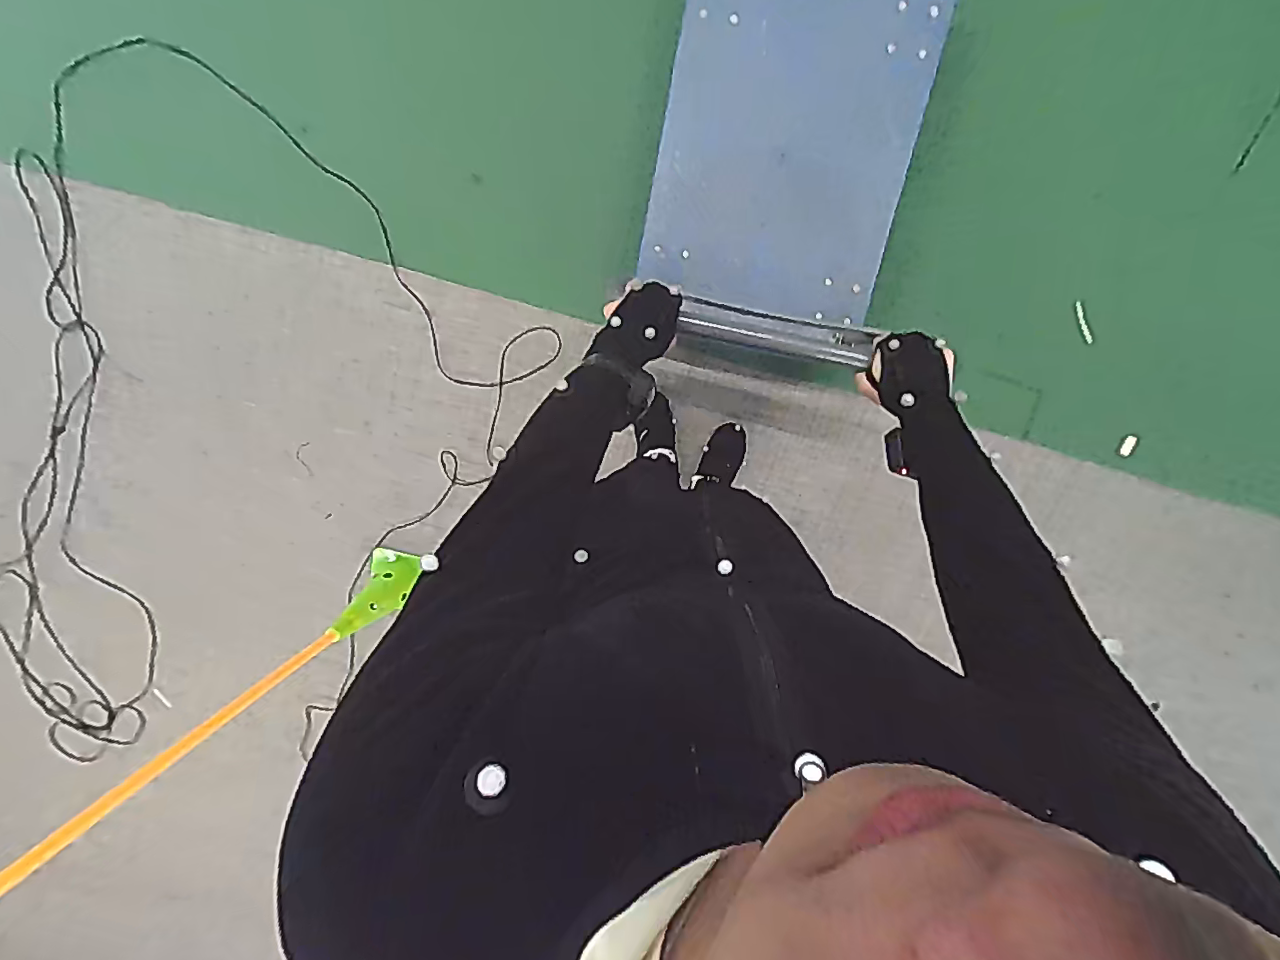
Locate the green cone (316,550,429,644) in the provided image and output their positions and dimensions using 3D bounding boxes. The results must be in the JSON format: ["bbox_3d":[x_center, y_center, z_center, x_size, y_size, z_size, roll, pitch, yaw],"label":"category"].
[{"bbox_3d":[-0.804,0.371,1.583,0.202,0.368,0.200,13,103,3],"label":"green cone"}]
